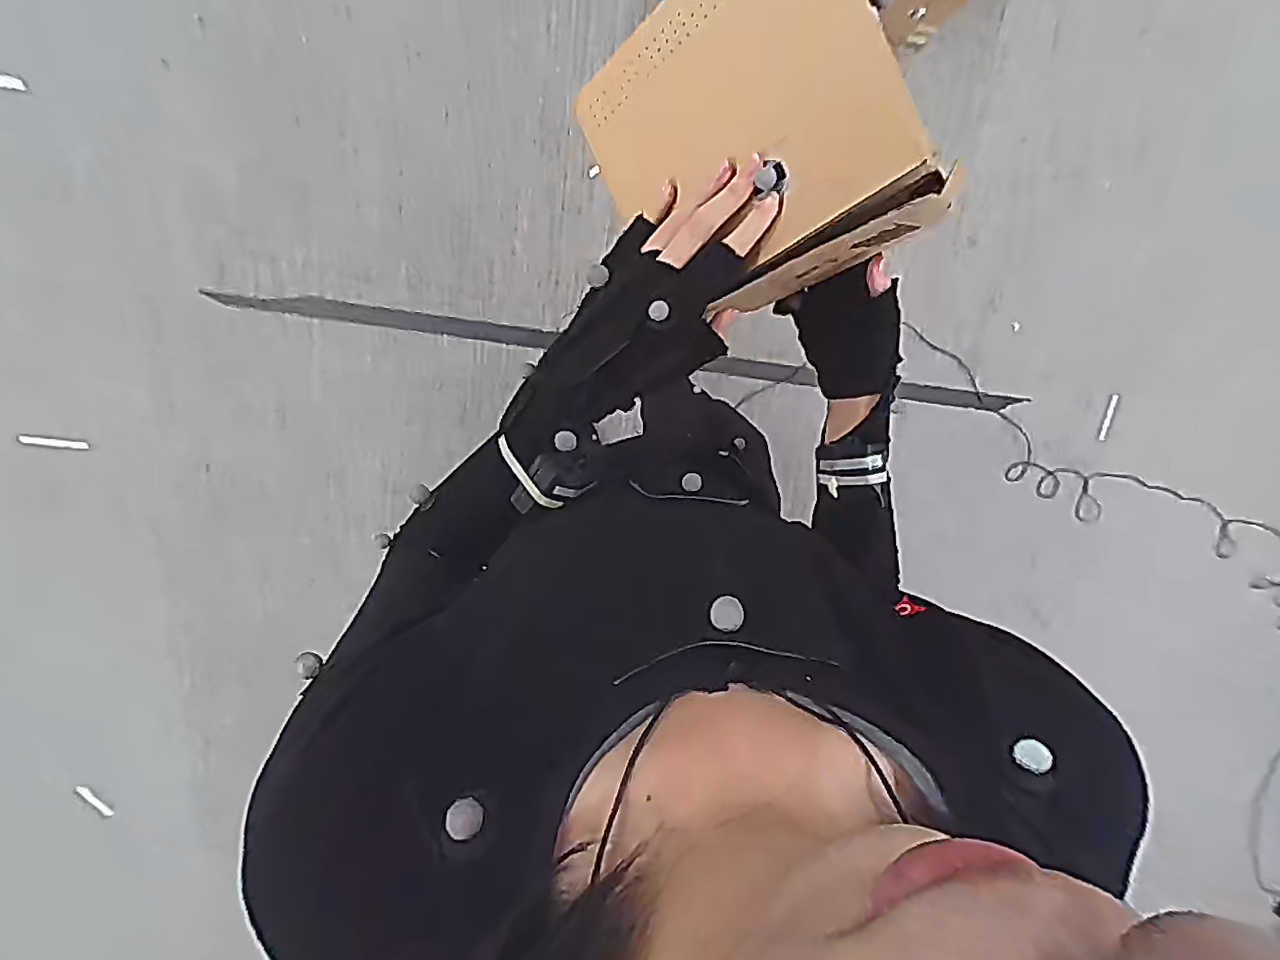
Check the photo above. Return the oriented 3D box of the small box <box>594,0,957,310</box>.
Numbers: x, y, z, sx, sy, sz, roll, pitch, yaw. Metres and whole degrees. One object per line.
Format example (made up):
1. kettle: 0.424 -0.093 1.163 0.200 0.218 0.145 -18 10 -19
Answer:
1. small box: 0.099 -0.244 0.387 0.179 0.168 0.176 -22 95 37
